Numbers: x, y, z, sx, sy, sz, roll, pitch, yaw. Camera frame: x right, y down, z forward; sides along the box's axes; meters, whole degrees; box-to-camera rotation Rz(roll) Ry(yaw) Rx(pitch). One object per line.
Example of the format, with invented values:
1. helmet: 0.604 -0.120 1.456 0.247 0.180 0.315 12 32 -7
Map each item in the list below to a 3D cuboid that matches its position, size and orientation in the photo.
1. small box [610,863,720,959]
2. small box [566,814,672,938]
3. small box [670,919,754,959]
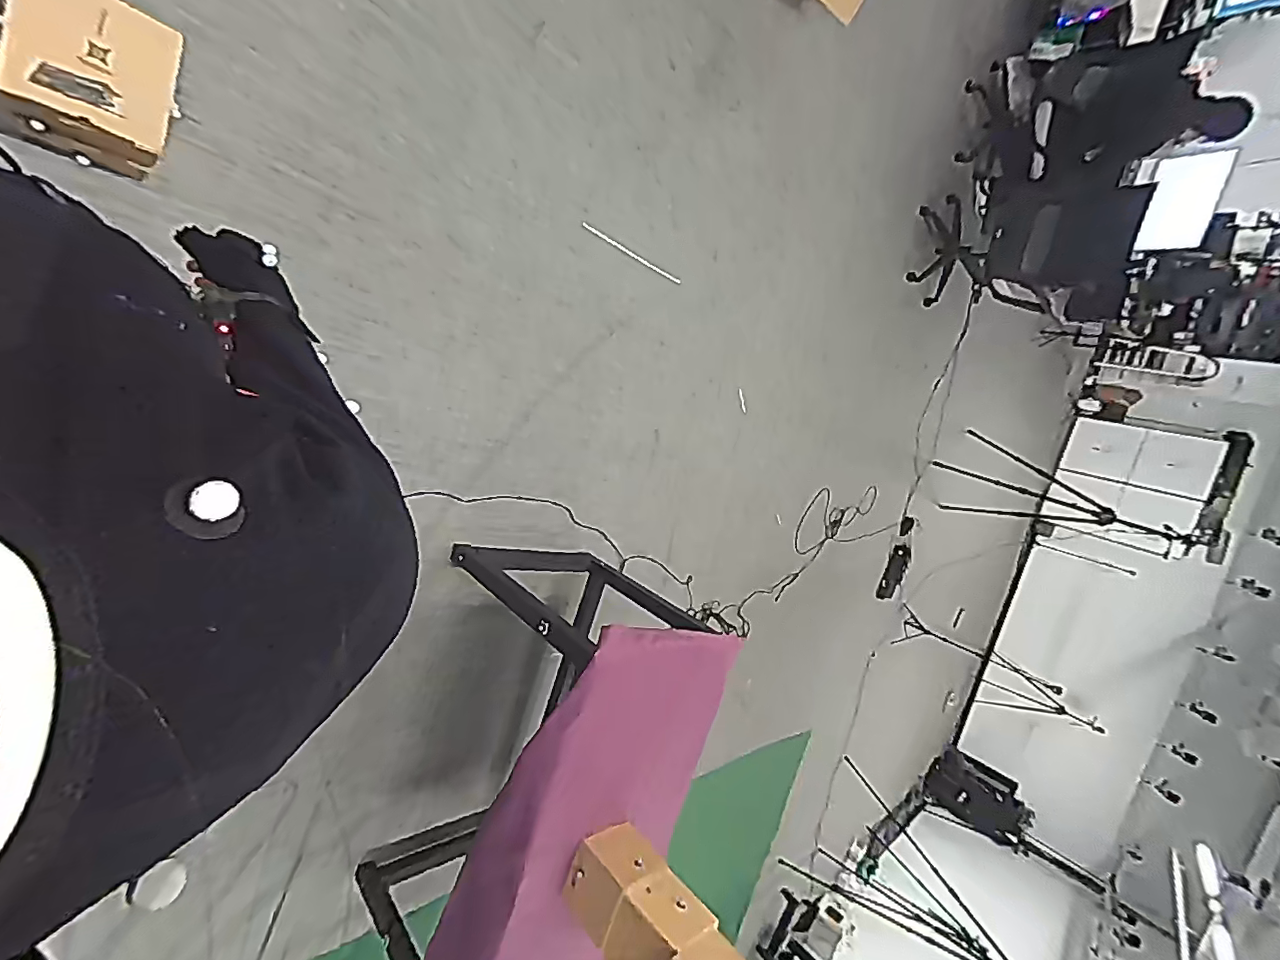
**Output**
1. small box: 0.054 1.046 1.271 0.168 0.176 0.179 16 95 -47
2. small box: -0.054 0.993 1.378 0.179 0.176 0.168 18 93 -47
3. small box: 0.151 1.090 1.143 0.179 0.176 0.168 20 92 -49
